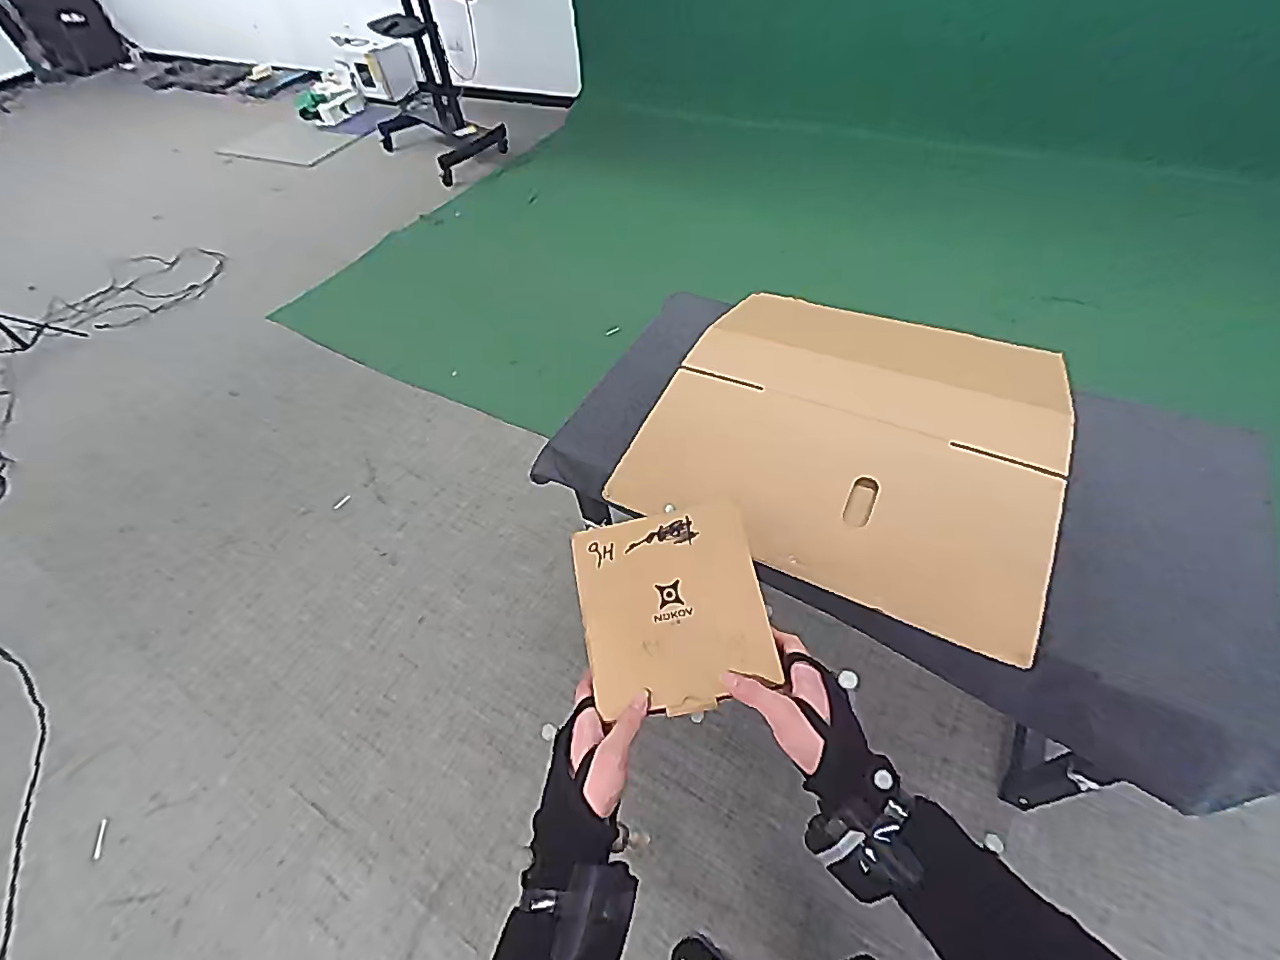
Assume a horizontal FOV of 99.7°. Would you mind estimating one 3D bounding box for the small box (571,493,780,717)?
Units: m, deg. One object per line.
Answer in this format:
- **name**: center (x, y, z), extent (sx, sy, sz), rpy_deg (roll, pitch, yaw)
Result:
- **small box**: center (0.039, 0.137, 0.574), extent (0.168, 0.176, 0.179), rpy_deg (-15, 67, 3)
